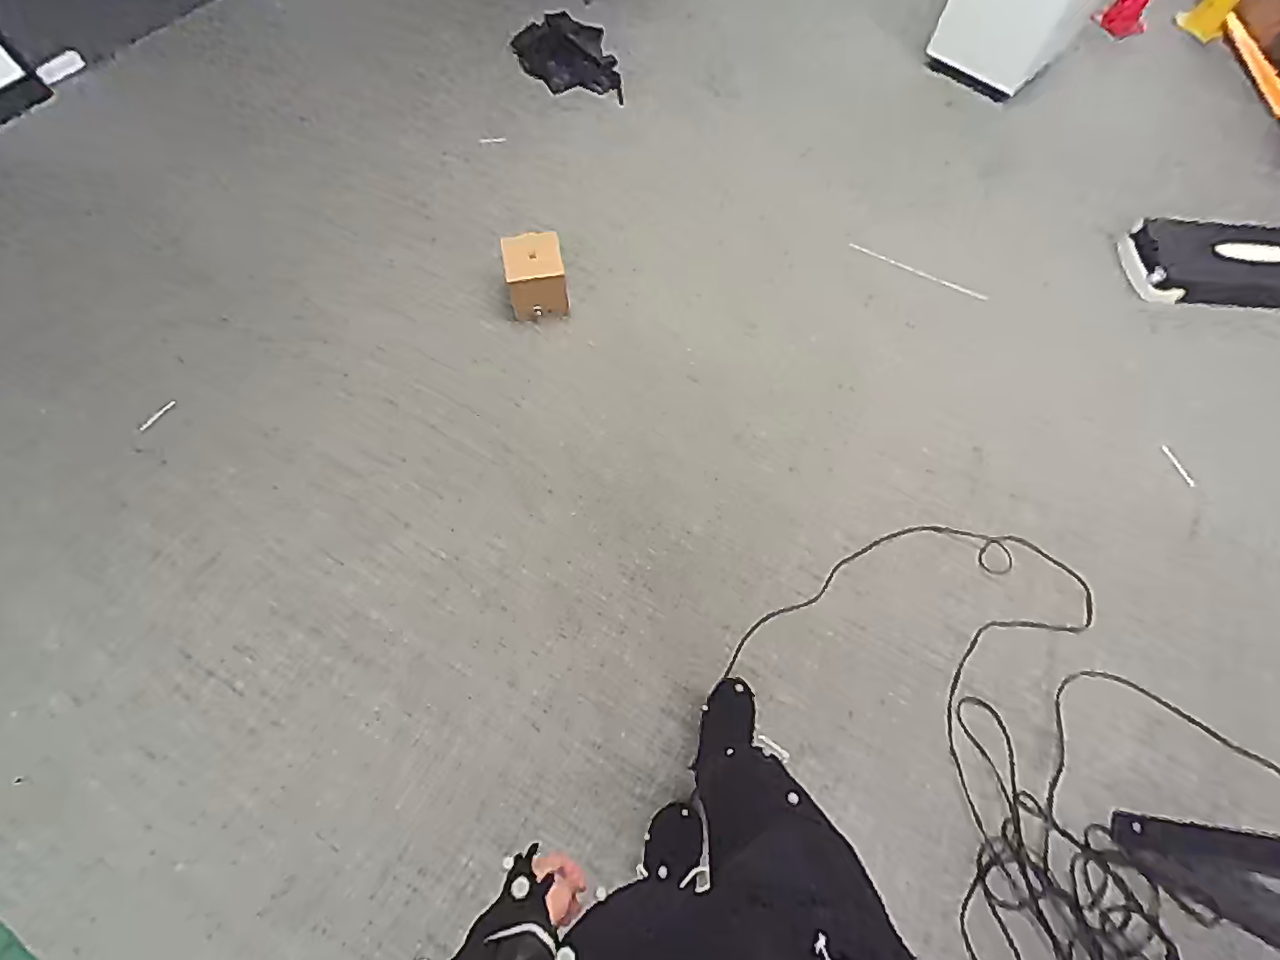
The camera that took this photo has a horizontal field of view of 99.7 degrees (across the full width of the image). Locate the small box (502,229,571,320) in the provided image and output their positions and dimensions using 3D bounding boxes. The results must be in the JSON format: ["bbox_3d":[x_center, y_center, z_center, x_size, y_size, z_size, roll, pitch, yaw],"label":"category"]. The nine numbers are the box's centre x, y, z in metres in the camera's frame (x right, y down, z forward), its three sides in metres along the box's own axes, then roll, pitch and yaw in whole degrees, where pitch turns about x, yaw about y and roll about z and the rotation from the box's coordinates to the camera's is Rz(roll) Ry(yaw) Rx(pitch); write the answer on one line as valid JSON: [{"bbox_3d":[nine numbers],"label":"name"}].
[{"bbox_3d":[-0.302,-0.604,1.596,0.168,0.176,0.179,-11,67,-6],"label":"small box"}]
